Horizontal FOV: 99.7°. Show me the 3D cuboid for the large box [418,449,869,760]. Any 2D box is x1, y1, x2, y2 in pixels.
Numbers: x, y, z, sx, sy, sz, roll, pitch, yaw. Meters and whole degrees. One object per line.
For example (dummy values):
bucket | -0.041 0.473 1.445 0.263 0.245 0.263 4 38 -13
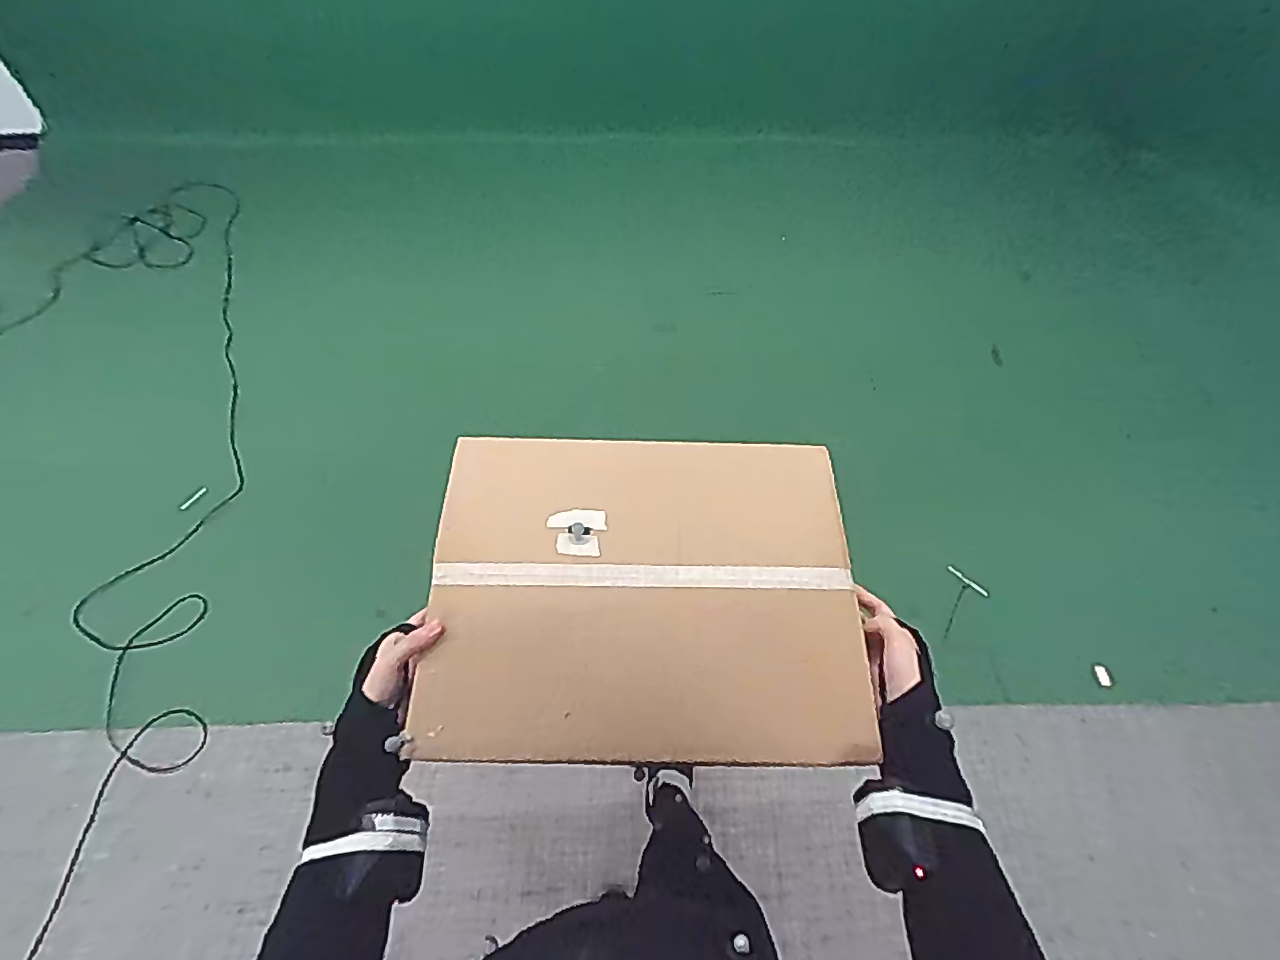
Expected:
large box | 0.003 0.170 0.671 0.408 0.320 0.320 0 62 -1
